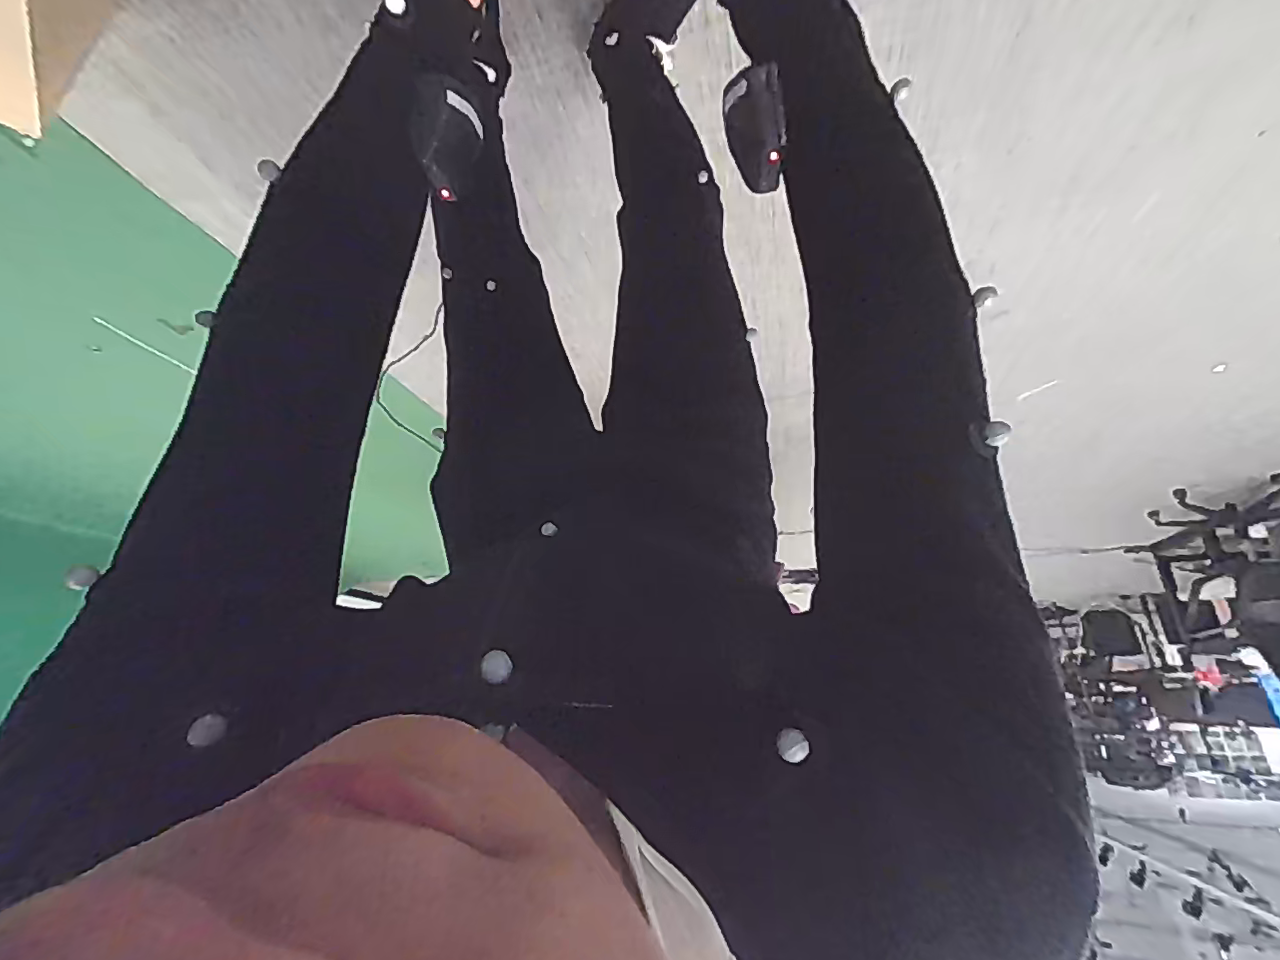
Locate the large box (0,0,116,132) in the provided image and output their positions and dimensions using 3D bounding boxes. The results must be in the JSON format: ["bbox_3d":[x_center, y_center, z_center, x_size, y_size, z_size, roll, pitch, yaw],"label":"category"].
[{"bbox_3d":[-0.842,-0.733,0.607,0.320,0.320,0.408,20,151,-39],"label":"large box"}]
